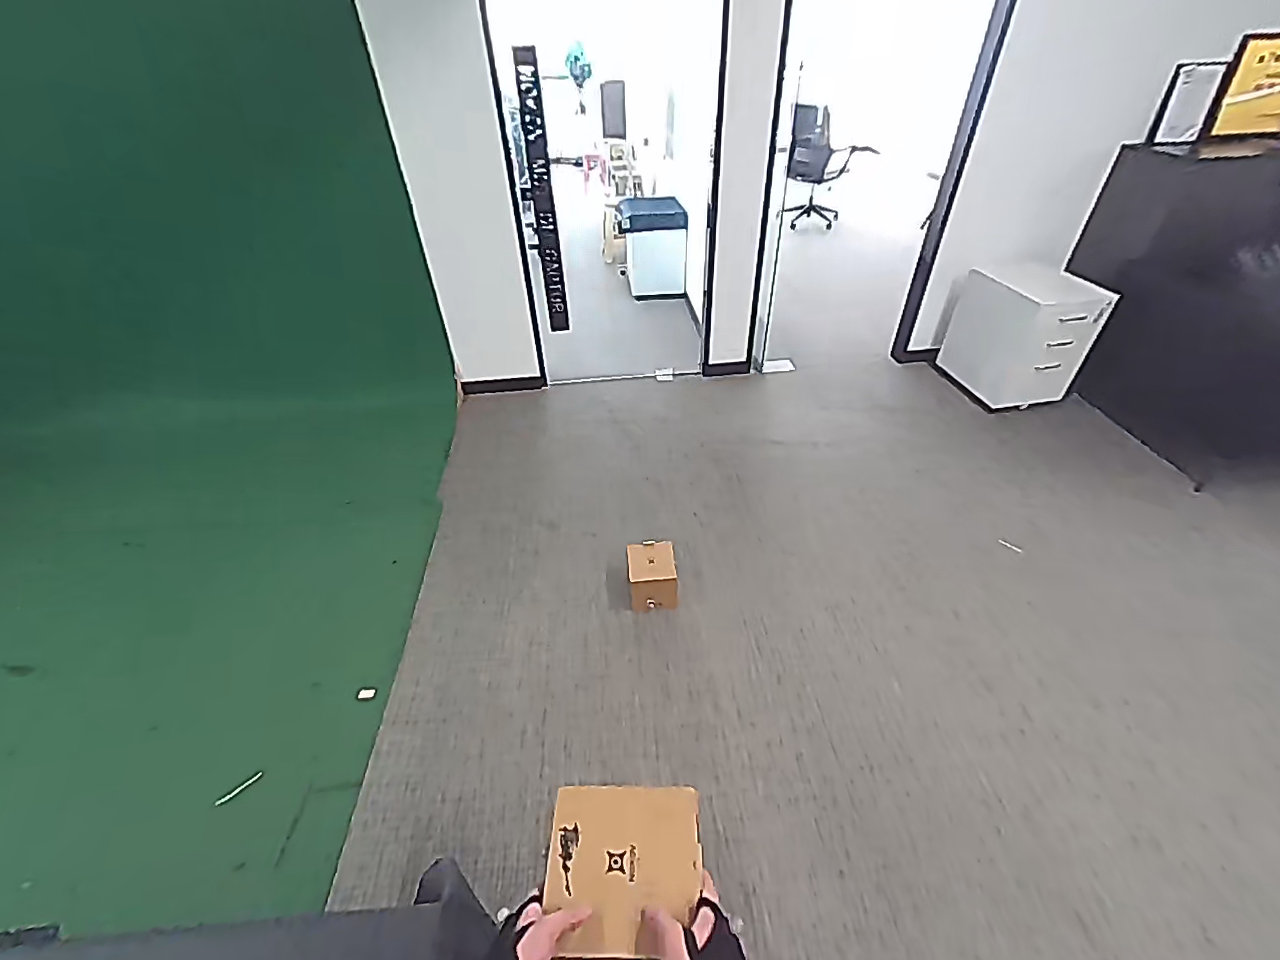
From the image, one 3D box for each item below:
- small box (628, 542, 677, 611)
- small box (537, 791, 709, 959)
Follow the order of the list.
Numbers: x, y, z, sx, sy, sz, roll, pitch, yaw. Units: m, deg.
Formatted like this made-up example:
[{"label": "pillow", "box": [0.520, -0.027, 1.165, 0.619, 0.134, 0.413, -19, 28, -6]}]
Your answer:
[{"label": "small box", "box": [0.042, 0.346, 1.936, 0.168, 0.176, 0.179, -5, 40, 0]}, {"label": "small box", "box": [-0.014, 0.503, 0.655, 0.179, 0.176, 0.168, 0, 37, 2]}]
